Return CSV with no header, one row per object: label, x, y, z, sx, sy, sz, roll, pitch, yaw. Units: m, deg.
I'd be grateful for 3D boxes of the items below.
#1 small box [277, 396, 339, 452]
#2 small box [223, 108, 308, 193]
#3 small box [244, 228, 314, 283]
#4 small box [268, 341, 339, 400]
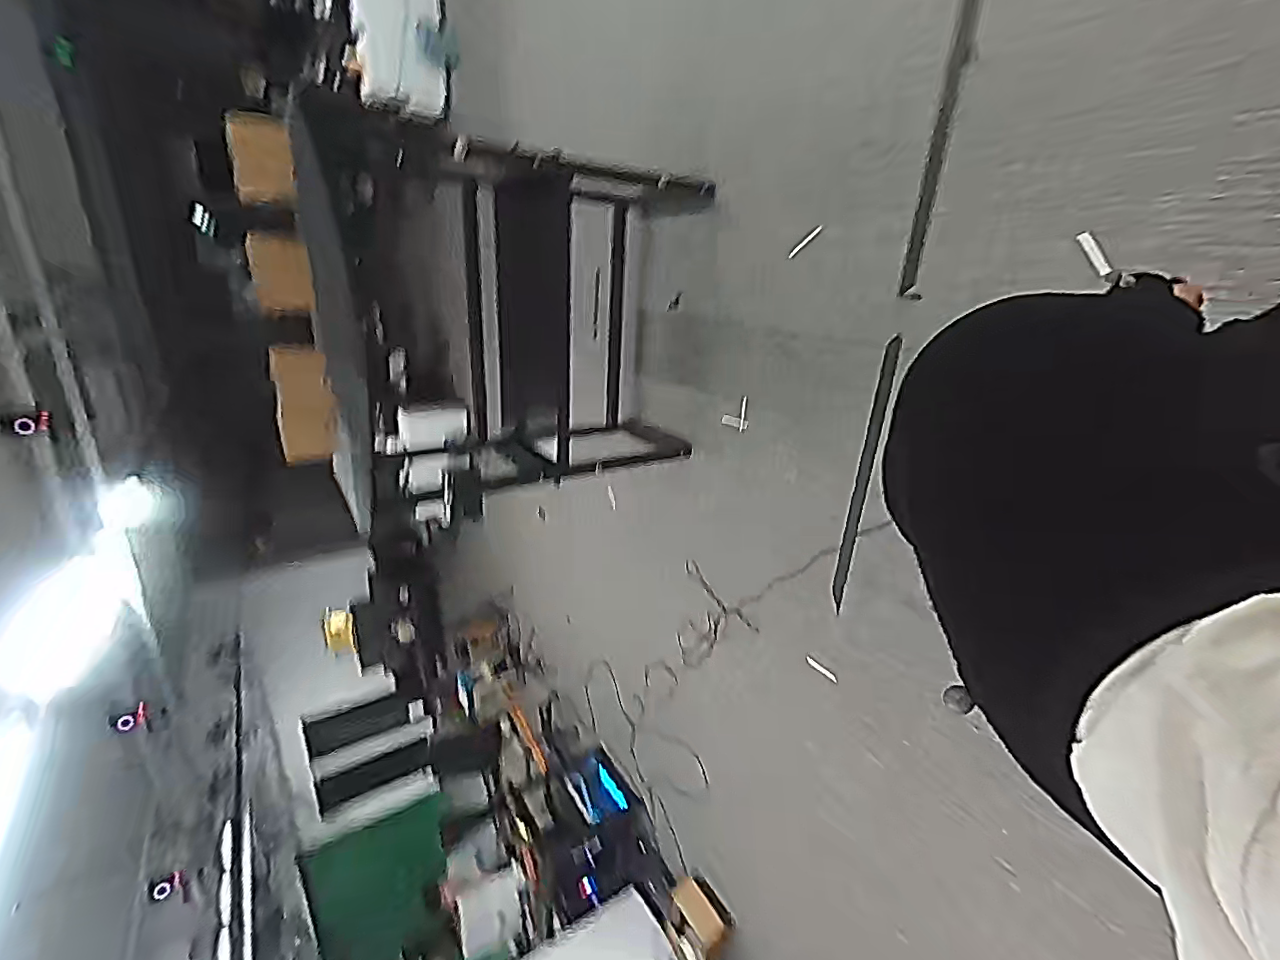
small box,-1.244,-0.216,2.025,0.168,0.176,0.179,27,120,50
small box,-1.036,-0.909,1.505,0.179,0.176,0.168,27,122,52
small box,-1.218,-0.758,1.830,0.179,0.176,0.168,29,123,50
small box,-1.068,-0.354,1.721,0.179,0.176,0.168,25,120,53
